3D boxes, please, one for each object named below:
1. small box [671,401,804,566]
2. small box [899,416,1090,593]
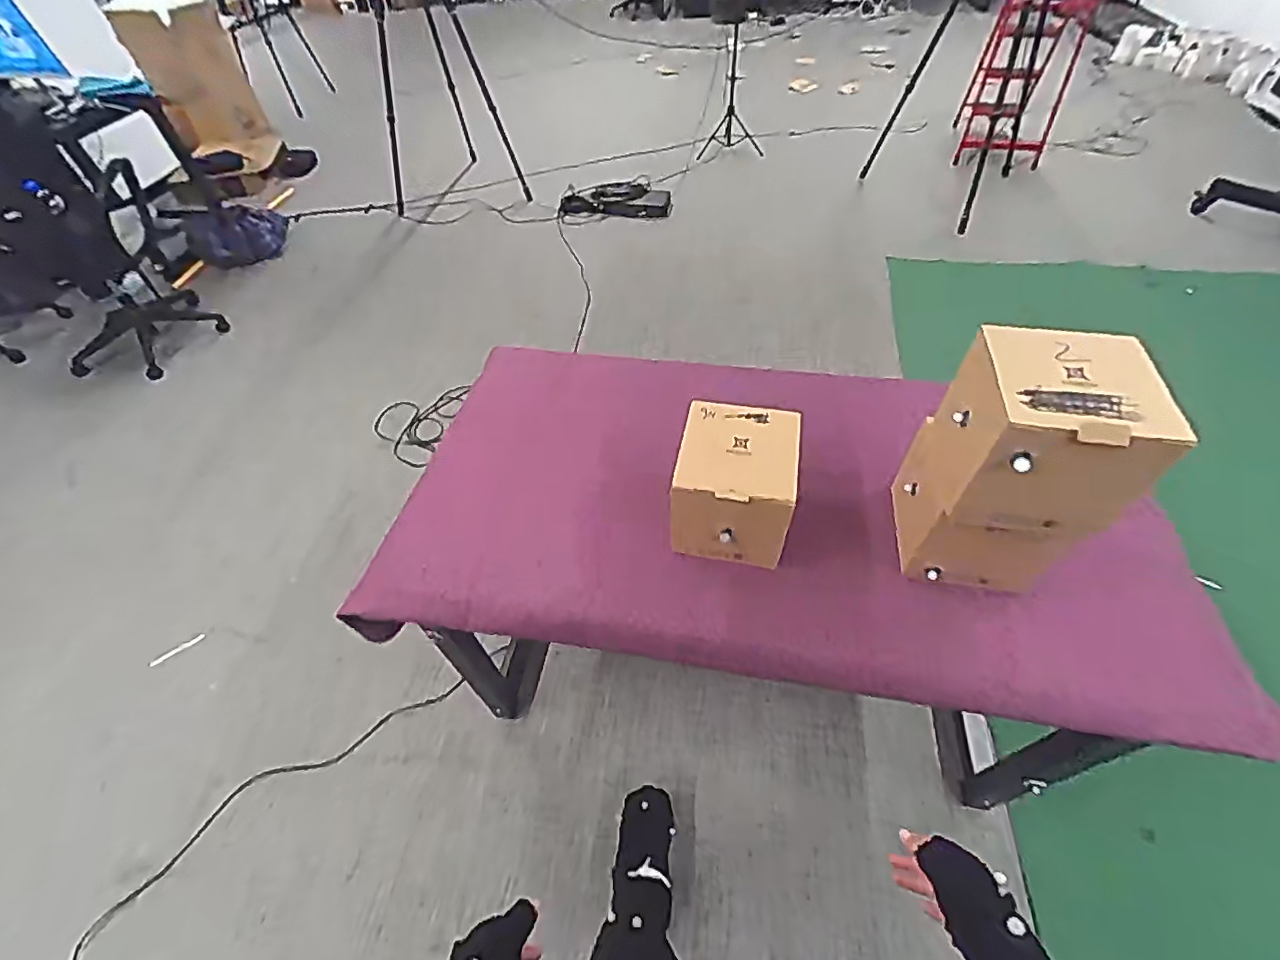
[{"bbox_3d":[0.146,0.008,0.818,0.168,0.176,0.179,9,52,10],"label":"small box"},{"bbox_3d":[0.483,0.038,0.769,0.168,0.176,0.179,11,52,10],"label":"small box"}]
